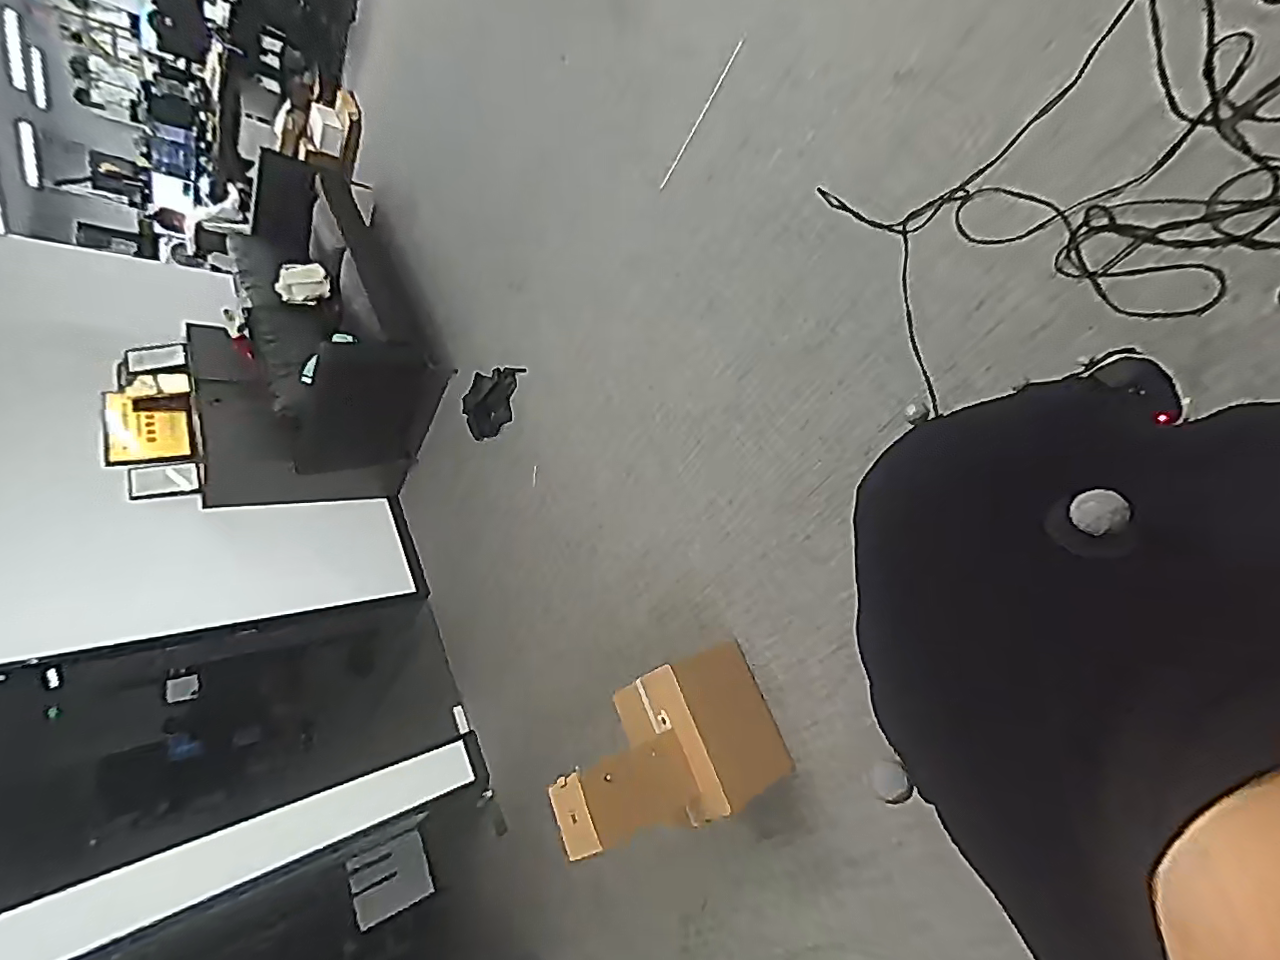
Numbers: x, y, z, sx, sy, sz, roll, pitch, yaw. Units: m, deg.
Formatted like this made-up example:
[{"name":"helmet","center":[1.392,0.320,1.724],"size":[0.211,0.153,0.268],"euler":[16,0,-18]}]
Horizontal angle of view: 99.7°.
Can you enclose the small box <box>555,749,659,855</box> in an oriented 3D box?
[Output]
[{"name":"small box","center":[-0.084,0.807,1.372],"size":[0.168,0.176,0.179],"euler":[-48,57,39]}]

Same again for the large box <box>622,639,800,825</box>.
[{"name":"large box","center":[0.208,0.756,1.654],"size":[0.320,0.320,0.408],"euler":[-44,59,38]}]
